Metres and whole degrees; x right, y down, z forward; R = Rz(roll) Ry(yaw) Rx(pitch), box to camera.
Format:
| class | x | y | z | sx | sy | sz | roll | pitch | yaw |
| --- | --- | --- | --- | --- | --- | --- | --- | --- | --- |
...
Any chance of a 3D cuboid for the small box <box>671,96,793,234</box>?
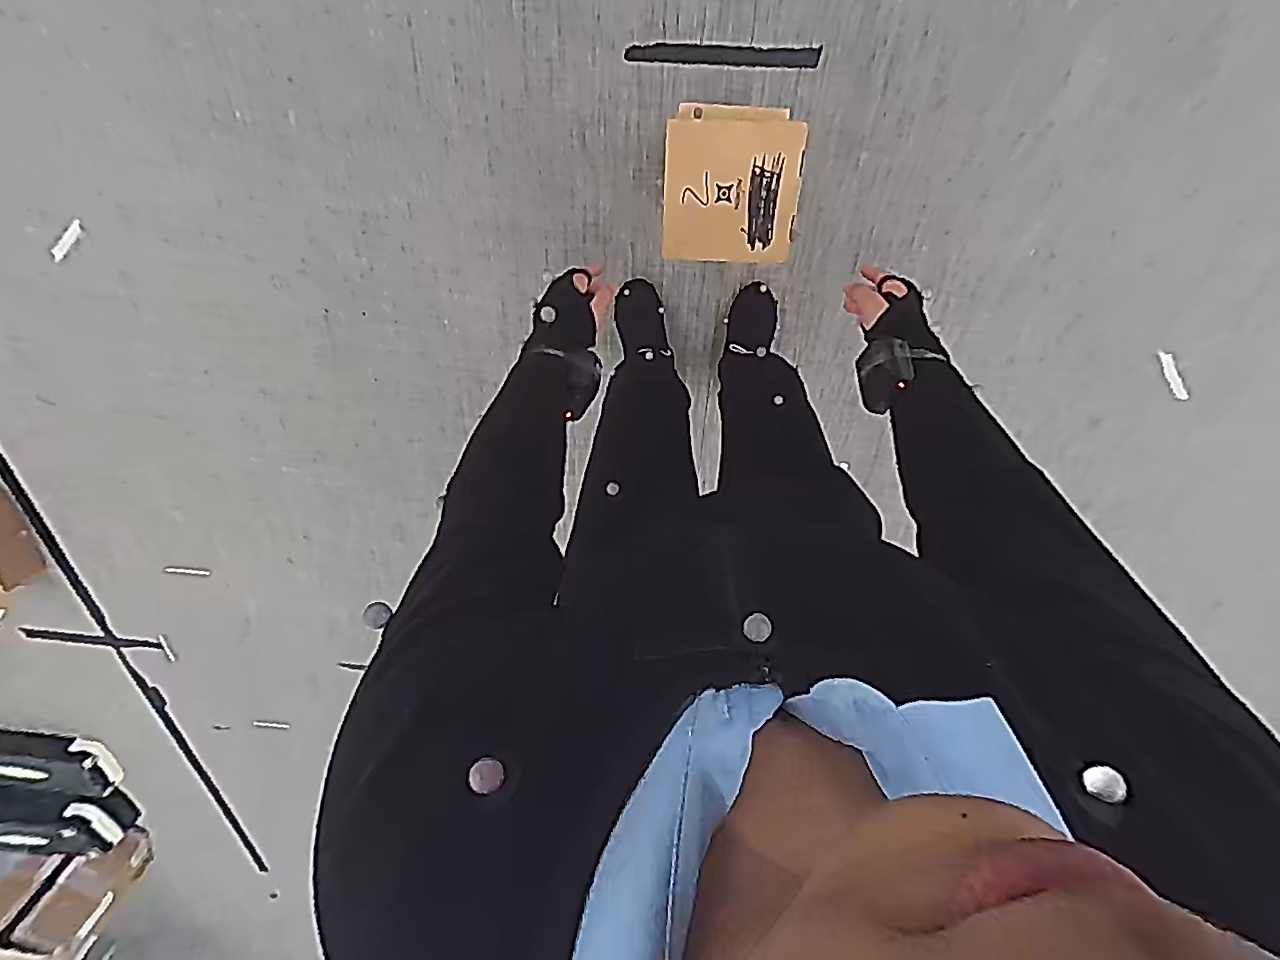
| class | x | y | z | sx | sy | sz | roll | pitch | yaw |
| --- | --- | --- | --- | --- | --- | --- | --- | --- | --- |
| small box | 0.140 | -0.516 | 0.892 | 0.168 | 0.176 | 0.179 | 5 | 122 | 2 |
